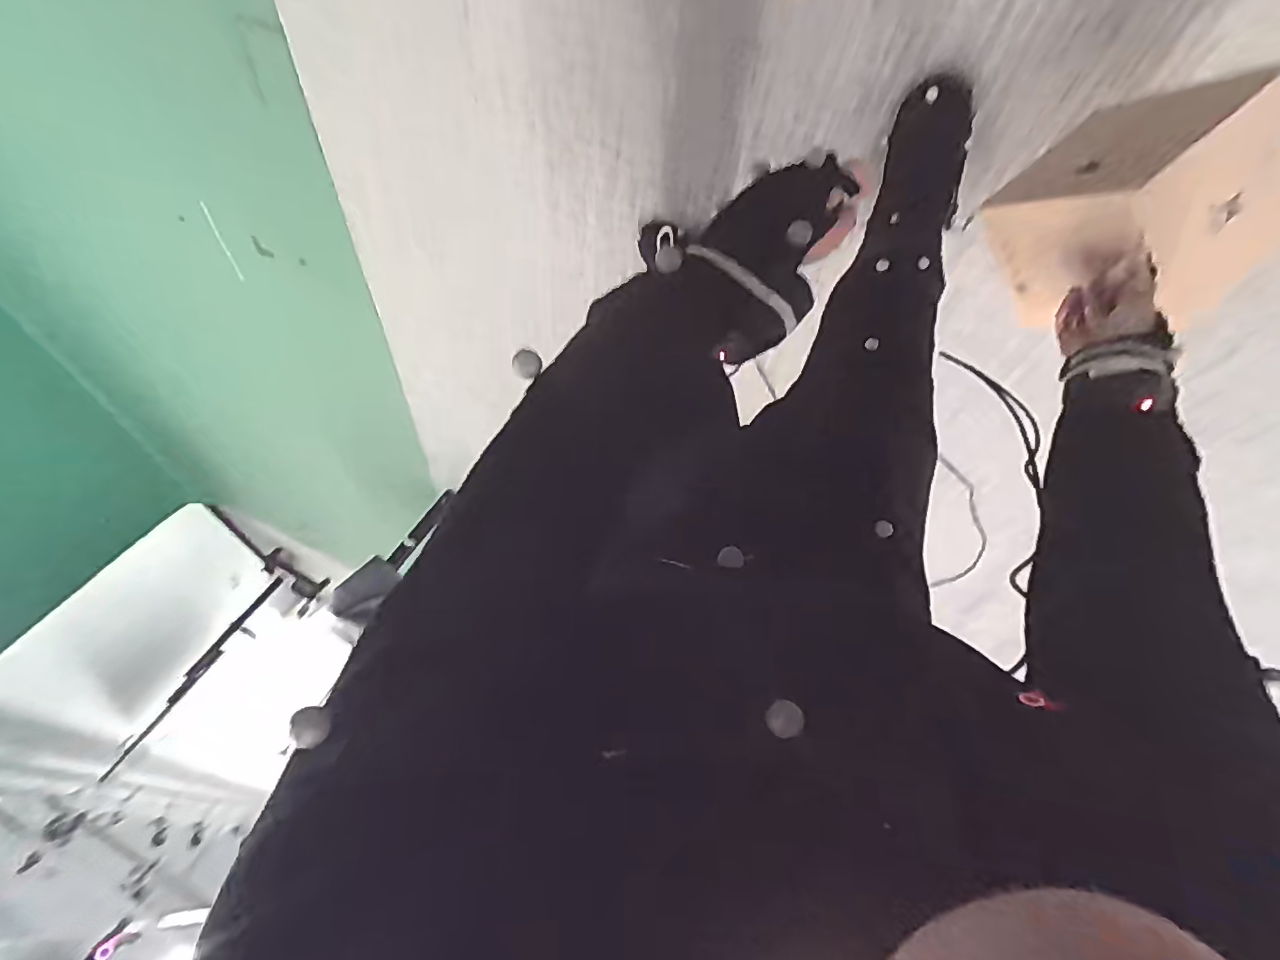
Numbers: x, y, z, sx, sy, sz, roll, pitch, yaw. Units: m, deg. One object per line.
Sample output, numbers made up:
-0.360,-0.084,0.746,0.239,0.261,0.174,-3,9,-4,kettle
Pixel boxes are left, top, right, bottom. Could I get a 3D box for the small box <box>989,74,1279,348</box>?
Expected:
0.501,-0.263,0.561,0.168,0.179,0.176,52,179,-28,small box
